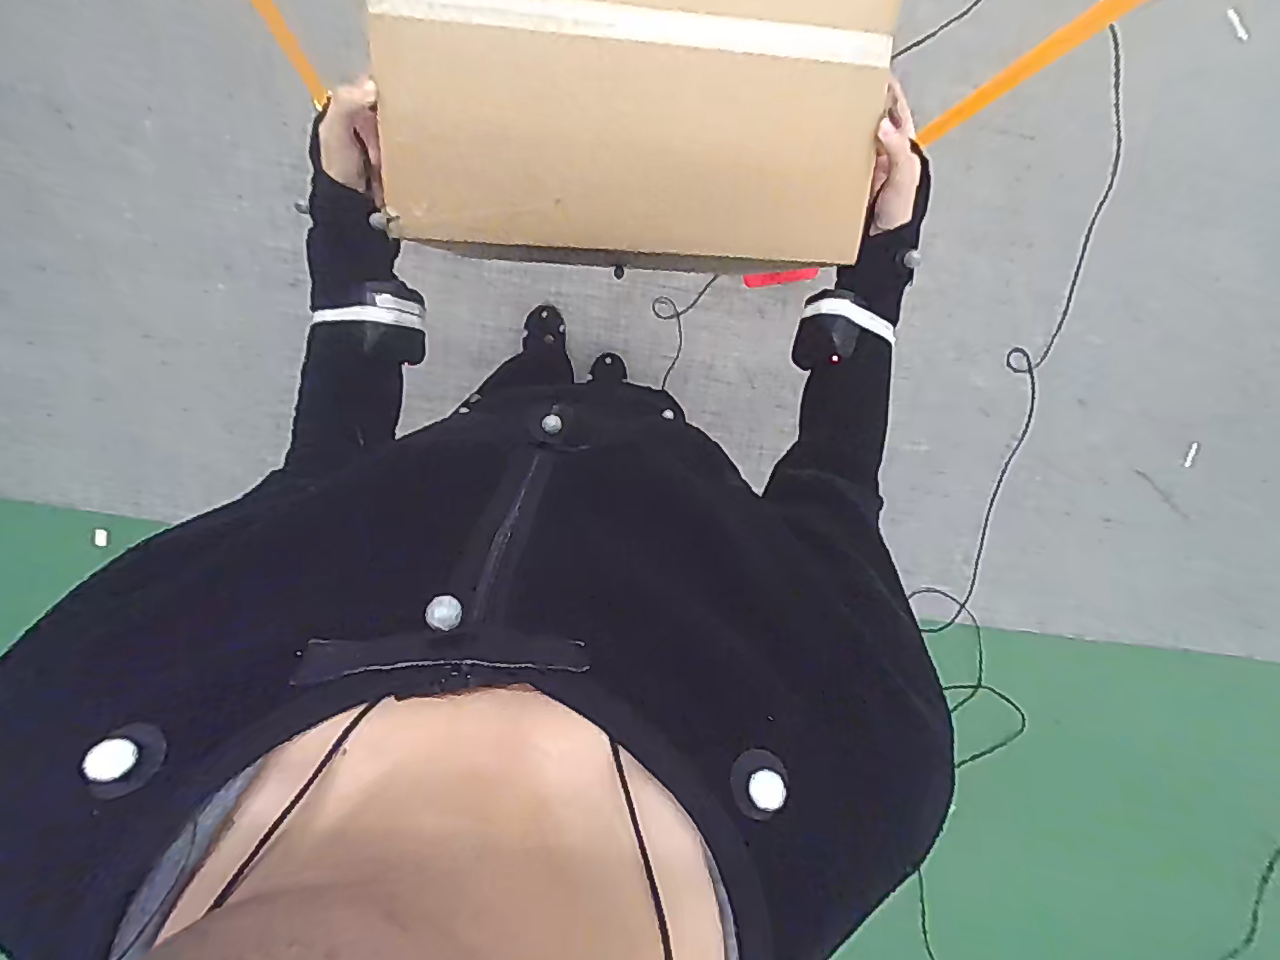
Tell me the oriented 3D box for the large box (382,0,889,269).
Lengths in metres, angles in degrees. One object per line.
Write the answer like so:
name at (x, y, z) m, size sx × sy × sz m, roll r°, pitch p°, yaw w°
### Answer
large box at (-0.012, -0.395, 0.570) m, size 0.408 × 0.320 × 0.320 m, roll 0°, pitch 109°, yaw -7°
